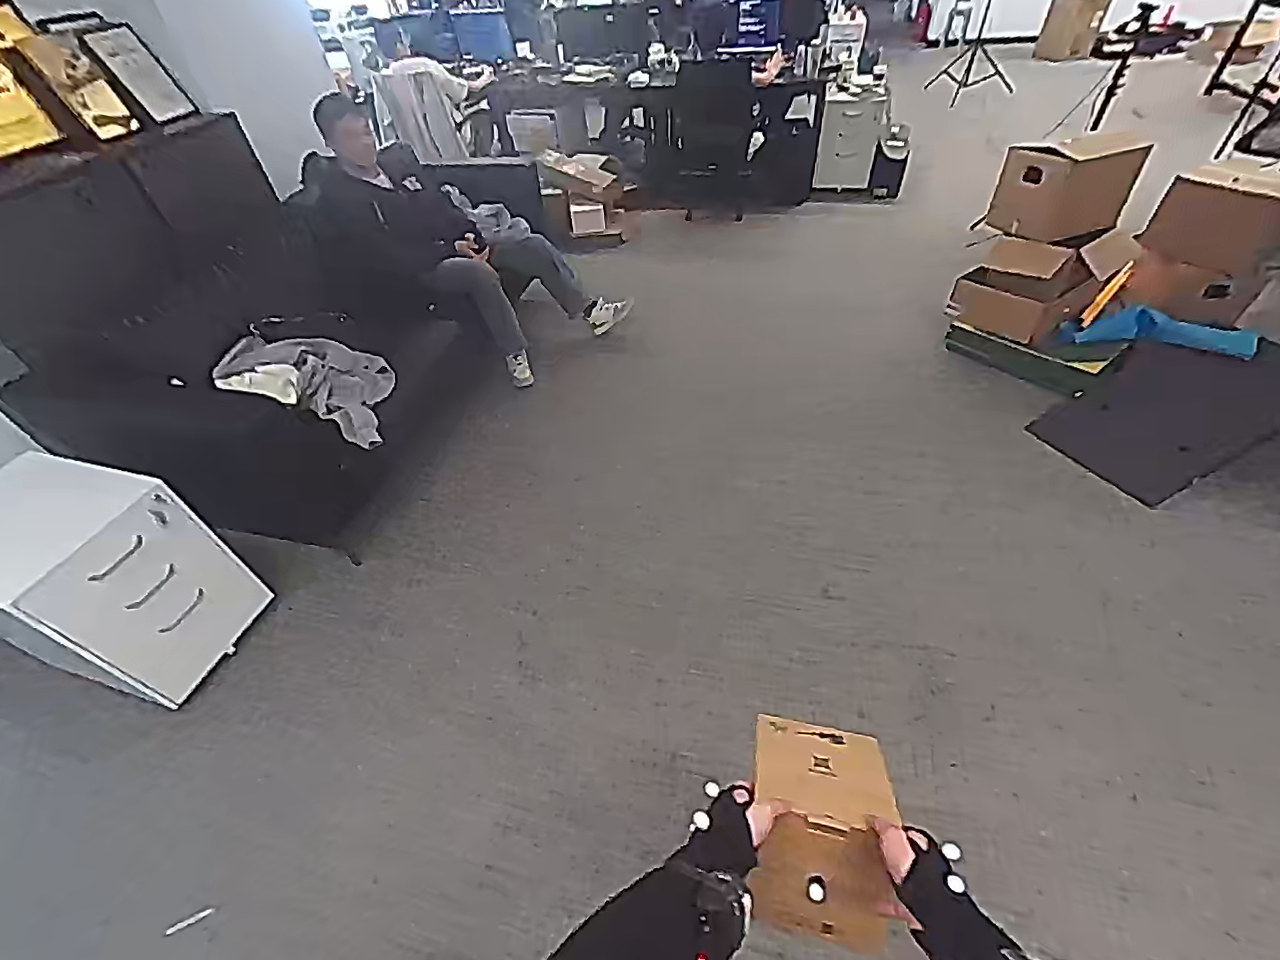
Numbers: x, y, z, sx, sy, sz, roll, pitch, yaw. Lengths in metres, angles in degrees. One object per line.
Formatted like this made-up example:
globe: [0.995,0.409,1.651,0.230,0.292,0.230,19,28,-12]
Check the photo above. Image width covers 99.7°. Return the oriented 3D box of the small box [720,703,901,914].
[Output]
small box: [0.217,0.435,0.732,0.179,0.176,0.168,-1,13,-18]
